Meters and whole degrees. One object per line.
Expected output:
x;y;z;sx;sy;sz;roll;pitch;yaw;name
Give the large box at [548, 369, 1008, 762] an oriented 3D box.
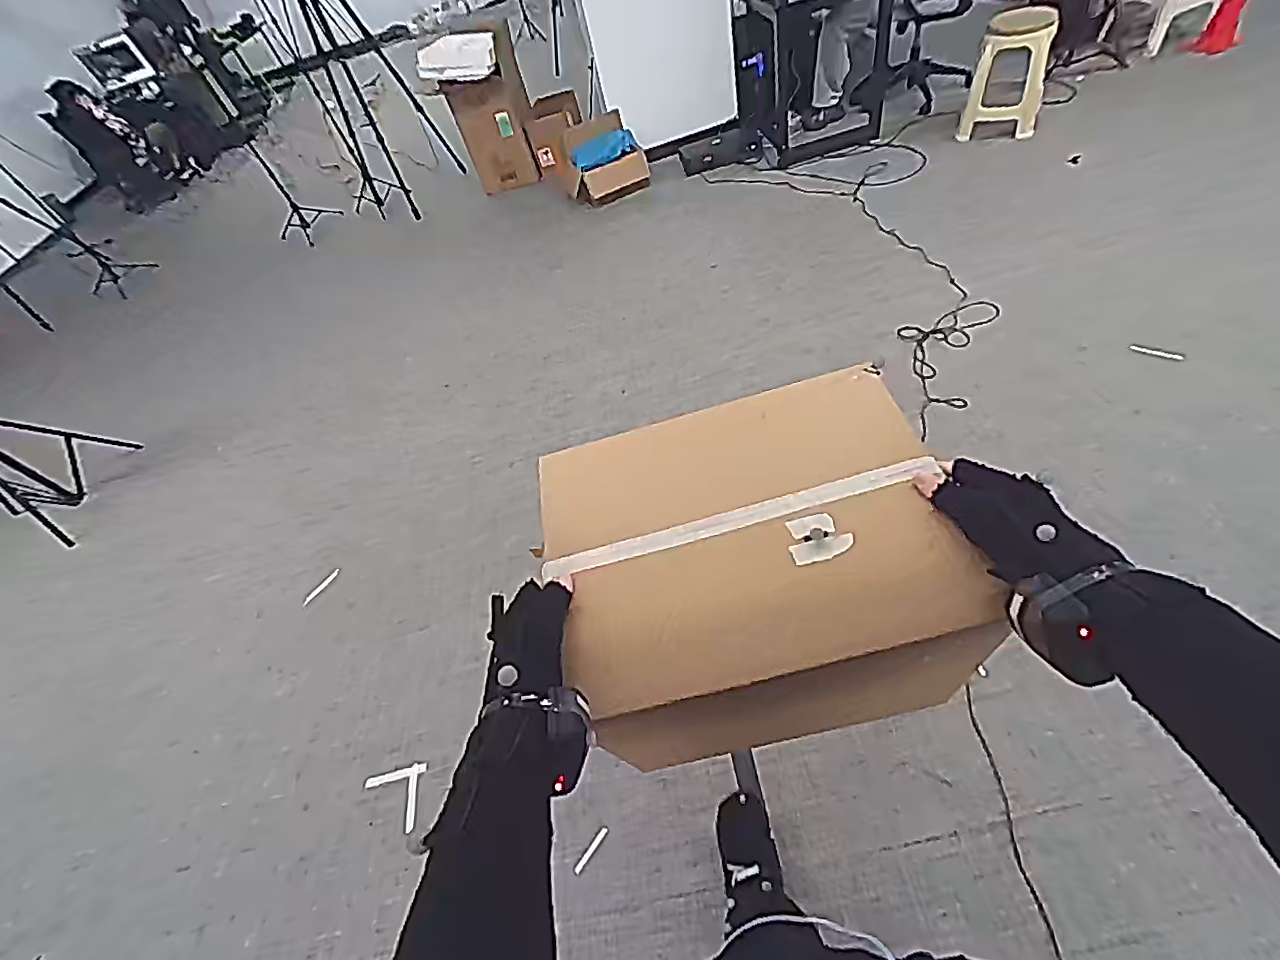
0.133;0.124;0.683;0.408;0.320;0.320;-16;54;4;large box
